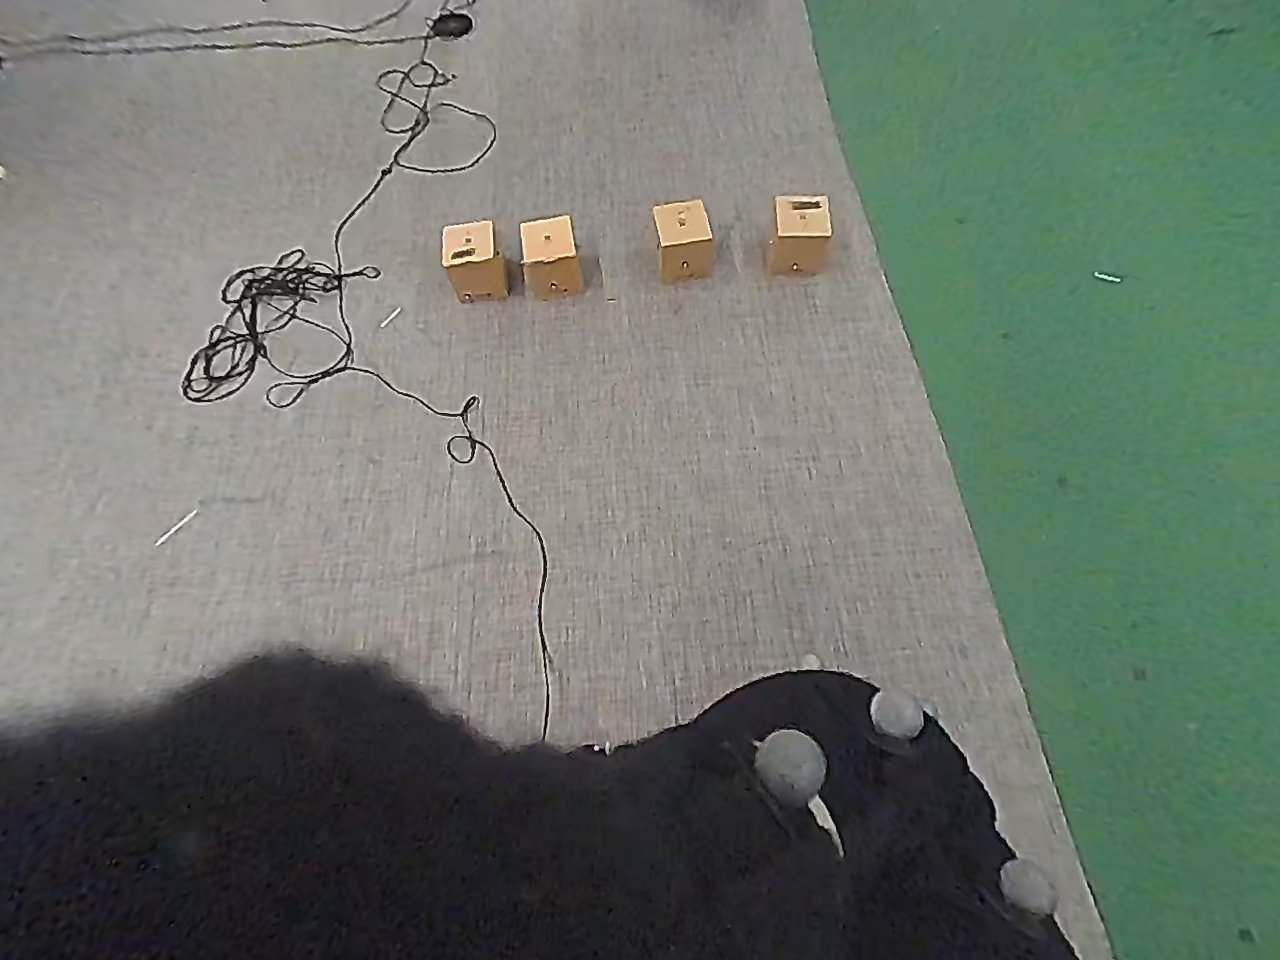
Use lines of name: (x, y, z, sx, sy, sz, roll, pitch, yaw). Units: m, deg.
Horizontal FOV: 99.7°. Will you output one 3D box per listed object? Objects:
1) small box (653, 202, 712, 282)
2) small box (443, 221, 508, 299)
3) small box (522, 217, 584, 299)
small box: (0.138, -0.777, 1.785, 0.168, 0.176, 0.179, -9, 67, -2)
small box: (-0.541, -0.722, 1.793, 0.168, 0.176, 0.179, -7, 66, -1)
small box: (-0.286, -0.728, 1.785, 0.168, 0.176, 0.179, -10, 67, -1)
